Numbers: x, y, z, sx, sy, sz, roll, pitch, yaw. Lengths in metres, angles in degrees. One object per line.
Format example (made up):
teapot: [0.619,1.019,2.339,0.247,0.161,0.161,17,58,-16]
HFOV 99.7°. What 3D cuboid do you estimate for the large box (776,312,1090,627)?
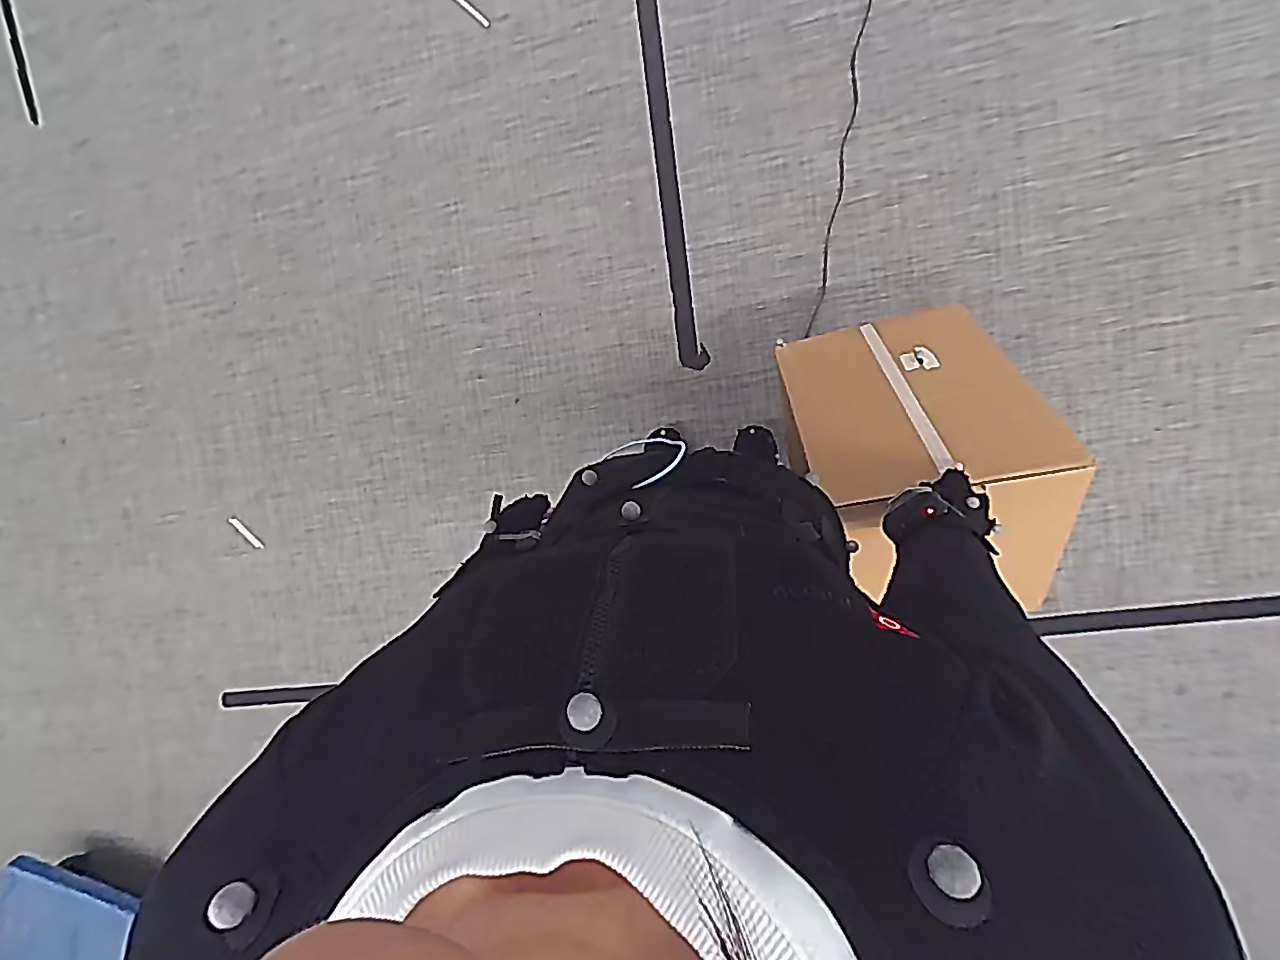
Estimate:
large box: [0.434,-0.021,0.911,0.320,0.408,0.320,-10,132,10]
